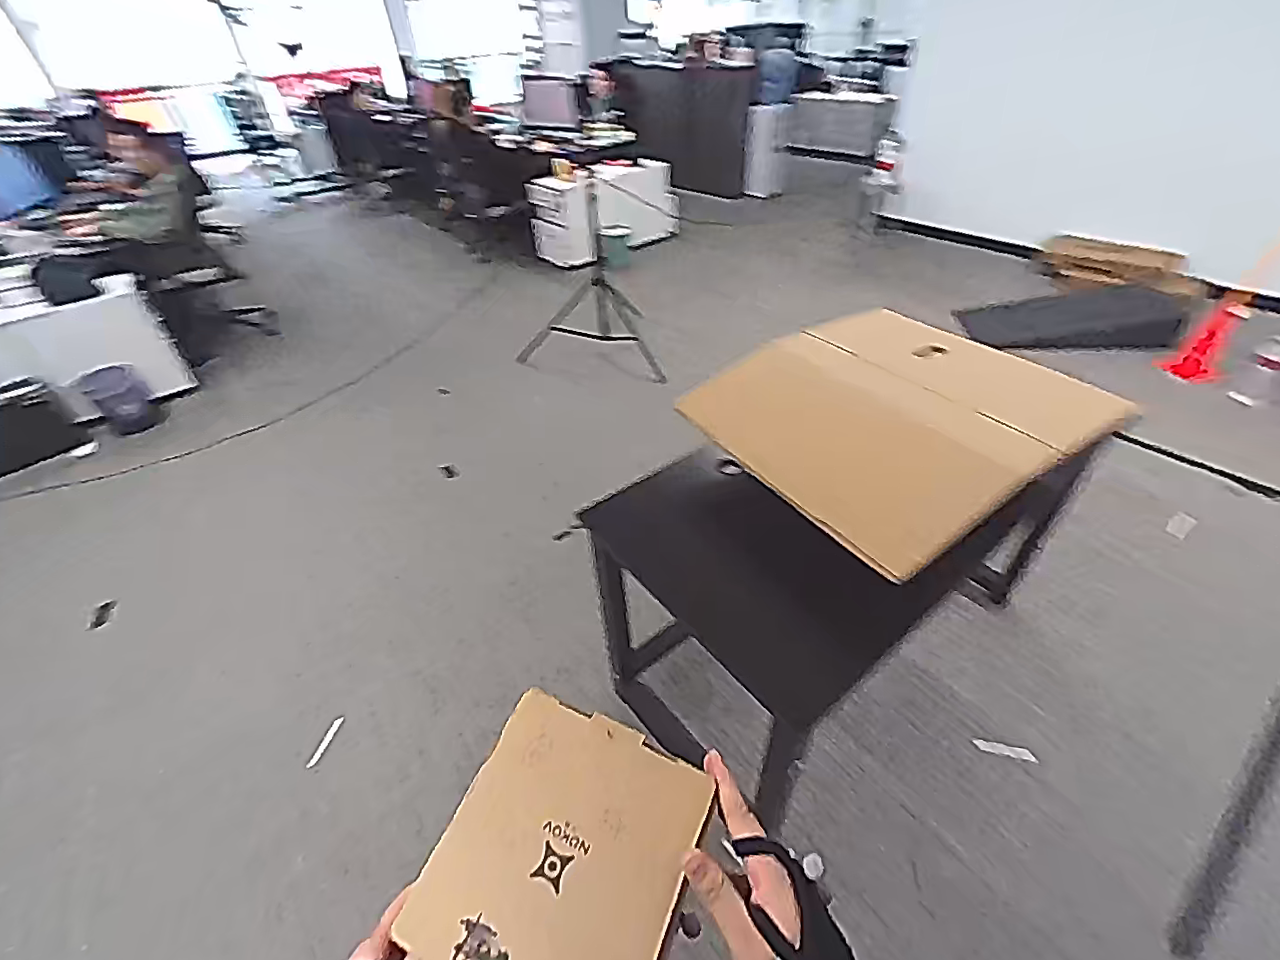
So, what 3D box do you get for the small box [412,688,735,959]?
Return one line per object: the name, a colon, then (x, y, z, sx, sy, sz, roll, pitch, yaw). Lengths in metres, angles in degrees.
small box: (-0.035, 0.305, 0.432, 0.168, 0.176, 0.179, 18, 56, 21)
